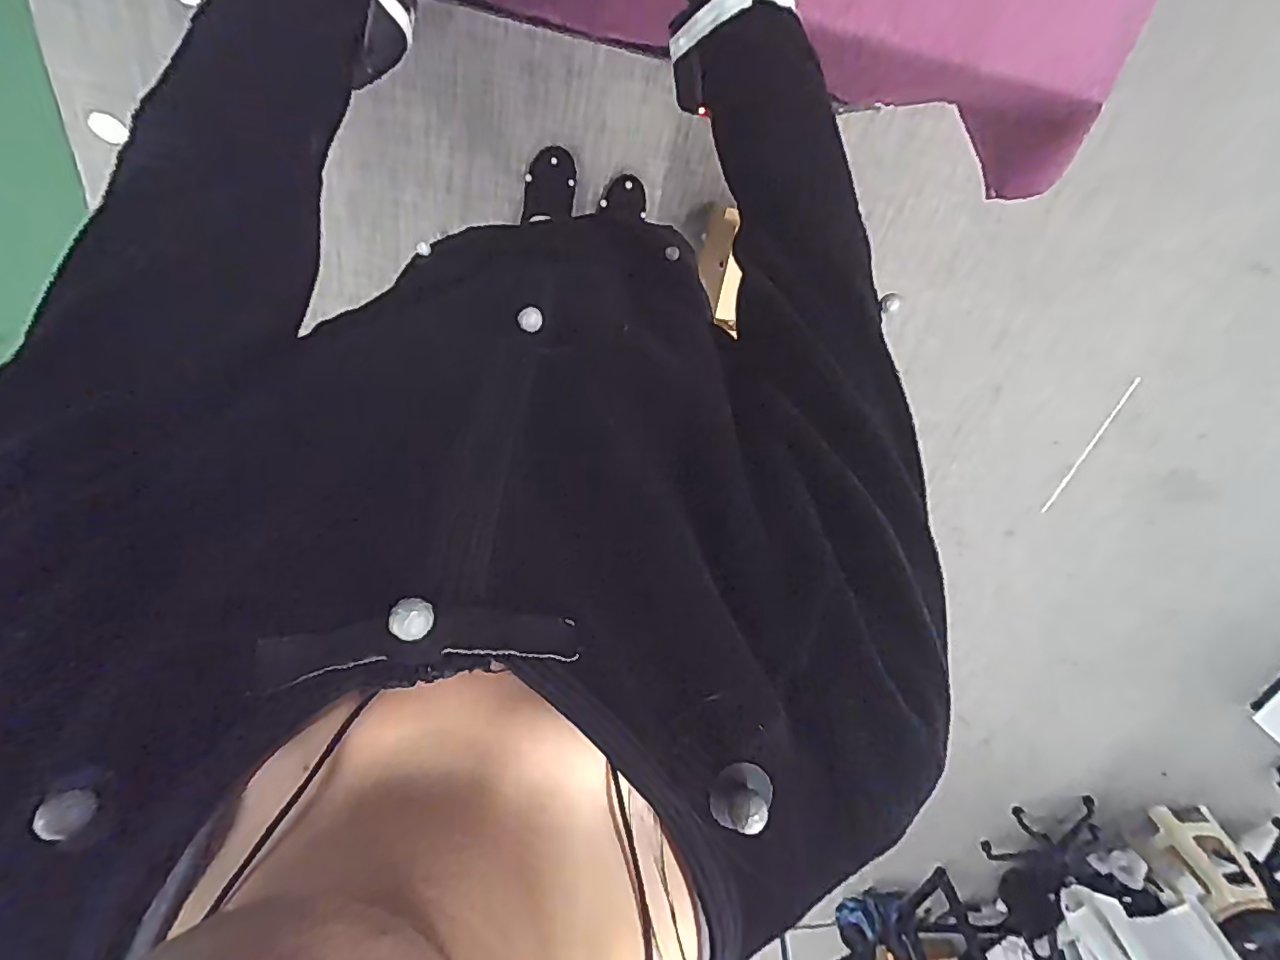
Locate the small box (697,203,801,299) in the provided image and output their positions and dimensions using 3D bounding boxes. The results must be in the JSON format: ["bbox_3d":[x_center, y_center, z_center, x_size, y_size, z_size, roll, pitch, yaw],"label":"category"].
[{"bbox_3d":[0.245,-0.540,1.265,0.179,0.176,0.168,8,121,-8],"label":"small box"}]
